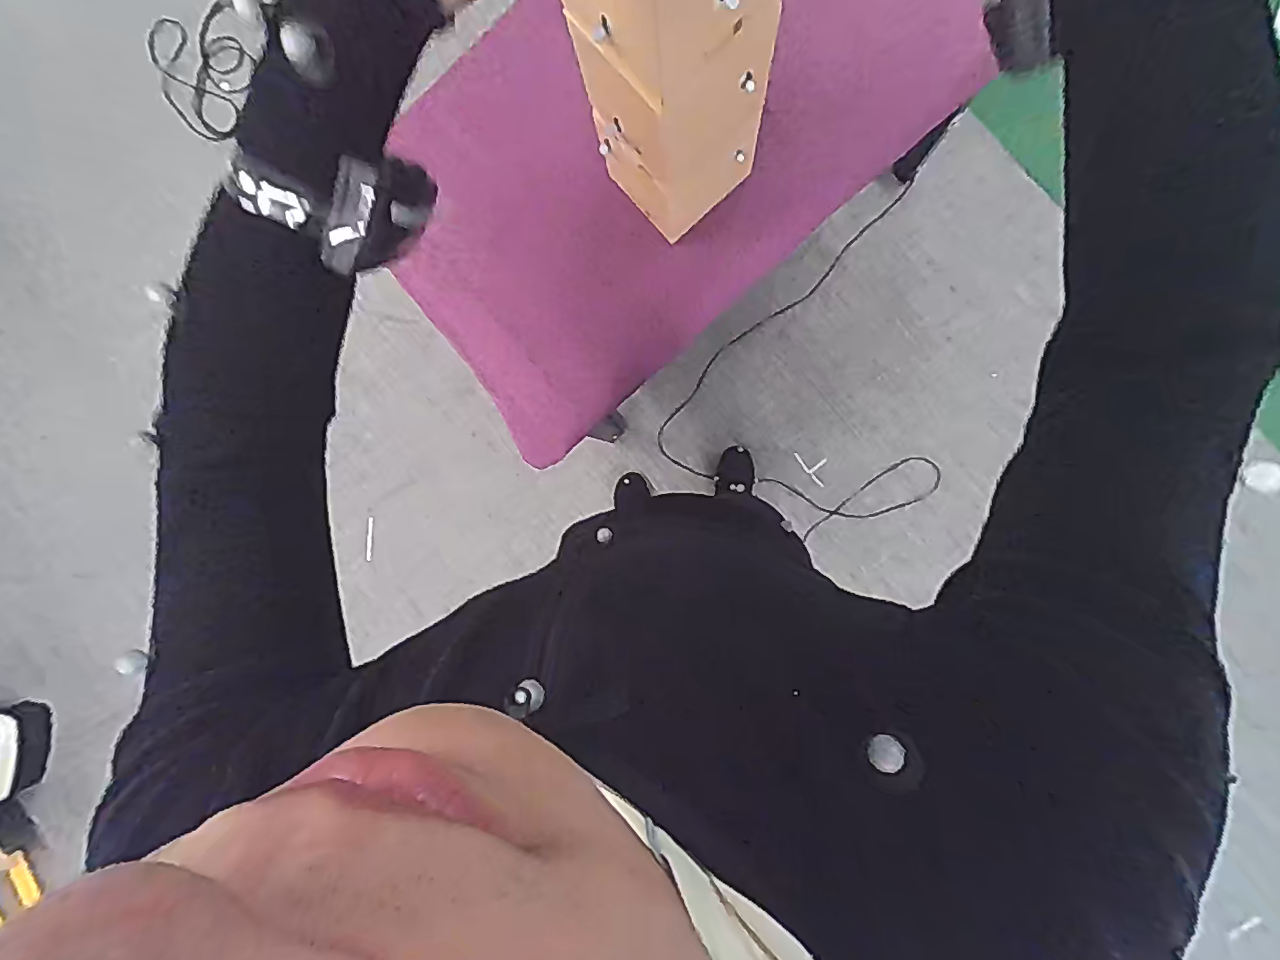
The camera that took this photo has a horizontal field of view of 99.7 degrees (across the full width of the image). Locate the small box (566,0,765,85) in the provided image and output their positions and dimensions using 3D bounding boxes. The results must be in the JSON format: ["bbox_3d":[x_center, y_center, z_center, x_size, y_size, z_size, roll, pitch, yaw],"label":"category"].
[{"bbox_3d":[0.020,-0.519,0.500,0.168,0.176,0.179,-42,87,4],"label":"small box"}]

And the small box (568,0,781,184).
[{"bbox_3d":[0.041,-0.516,0.661,0.179,0.176,0.168,-41,86,5],"label":"small box"}]
